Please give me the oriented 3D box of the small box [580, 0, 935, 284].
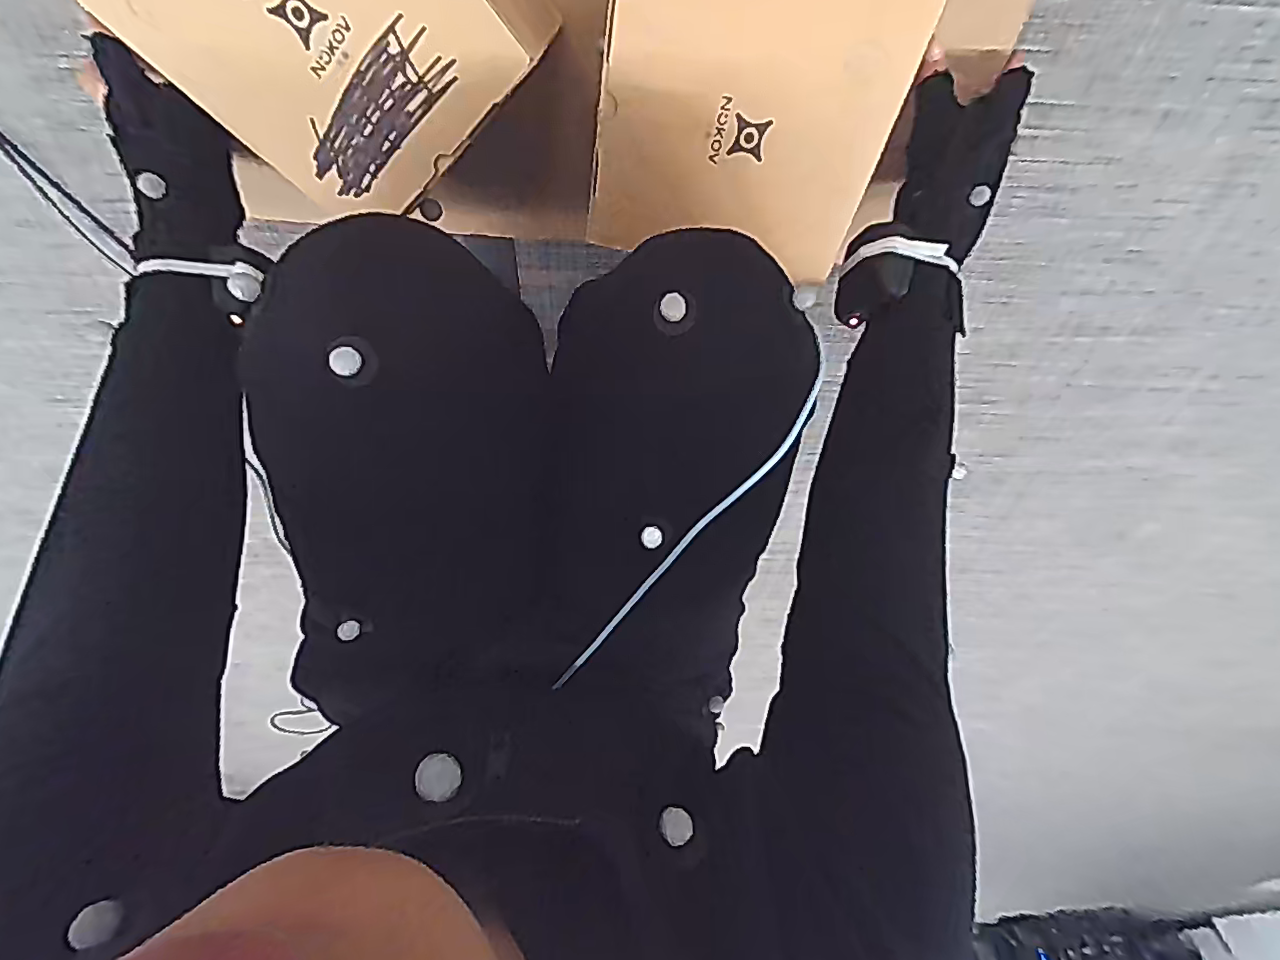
[{"bbox_3d":[0.062,-0.268,0.386,0.179,0.176,0.168,10,135,-4],"label":"small box"}]
